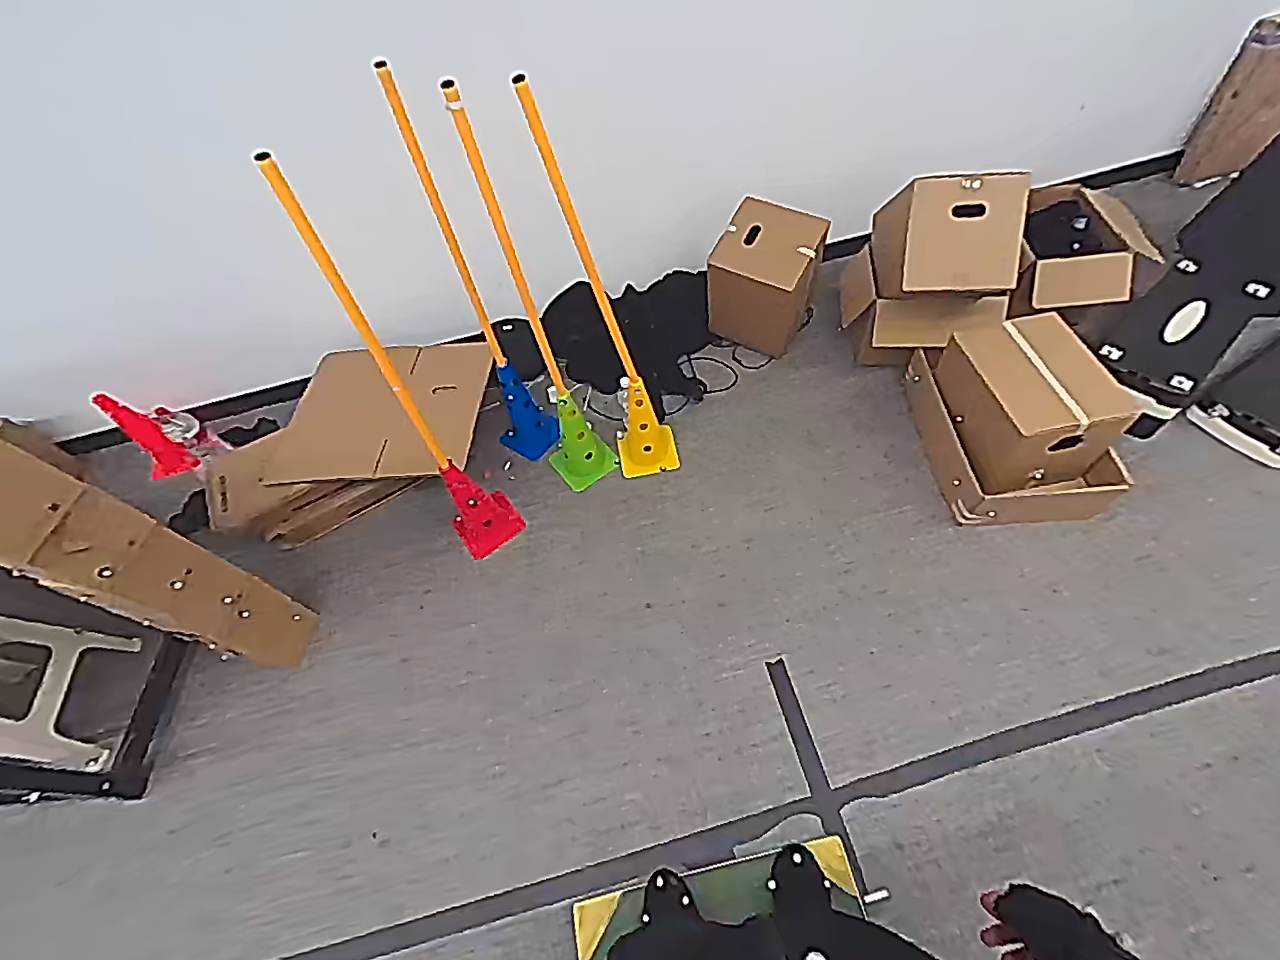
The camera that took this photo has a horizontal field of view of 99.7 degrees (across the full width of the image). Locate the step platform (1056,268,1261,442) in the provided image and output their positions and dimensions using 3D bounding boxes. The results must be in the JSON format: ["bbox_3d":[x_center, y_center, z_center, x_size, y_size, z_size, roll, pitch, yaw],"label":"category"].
[{"bbox_3d":[1.730,-0.435,1.807,0.684,0.204,0.286,-40,60,-17],"label":"step platform"}]
